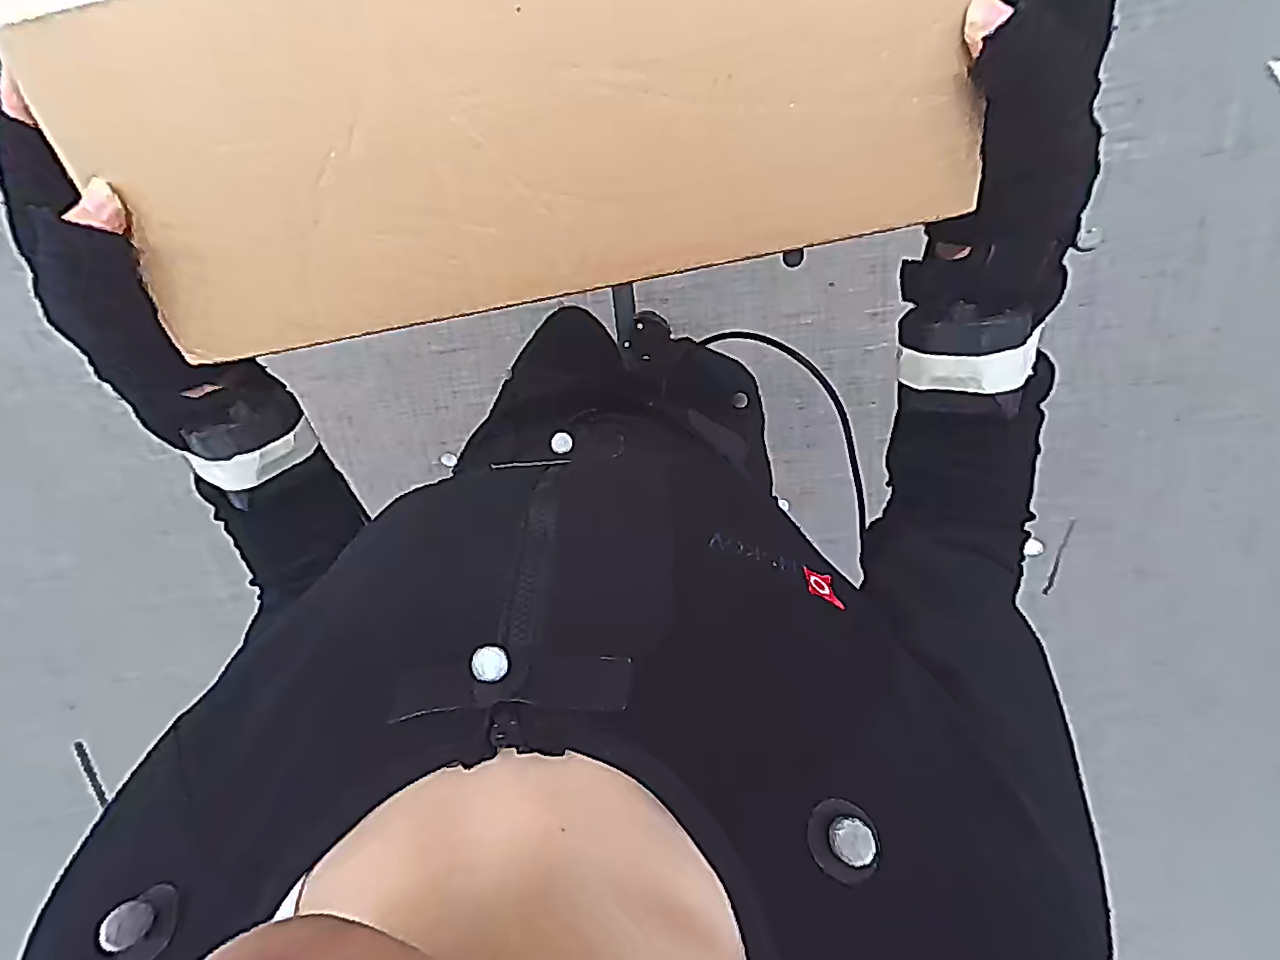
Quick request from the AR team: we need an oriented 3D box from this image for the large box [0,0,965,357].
[{"bbox_3d":[-0.071,-0.305,0.338,0.408,0.320,0.320,-9,118,6],"label":"large box"}]
